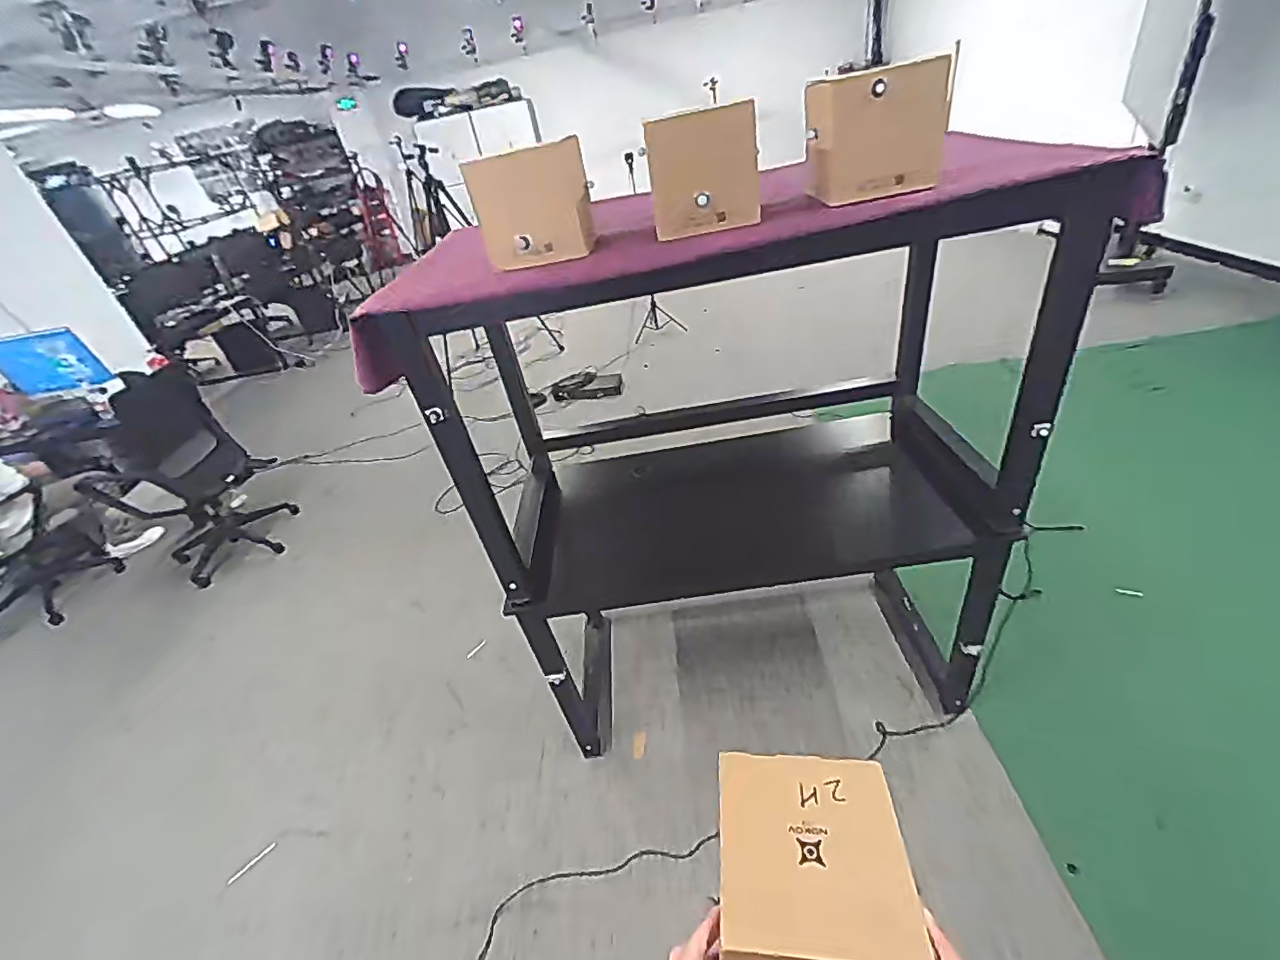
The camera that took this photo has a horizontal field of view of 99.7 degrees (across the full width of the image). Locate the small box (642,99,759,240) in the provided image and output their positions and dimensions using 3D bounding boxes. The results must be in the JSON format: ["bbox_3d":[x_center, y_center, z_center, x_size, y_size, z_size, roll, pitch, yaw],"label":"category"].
[{"bbox_3d":[0.099,-0.506,0.884,0.168,0.176,0.179,-8,35,7],"label":"small box"}]

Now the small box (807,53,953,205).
[{"bbox_3d":[0.368,-0.551,0.863,0.168,0.176,0.179,-8,33,8],"label":"small box"}]

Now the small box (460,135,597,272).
[{"bbox_3d":[-0.174,-0.466,0.914,0.168,0.176,0.179,-7,35,8],"label":"small box"}]
